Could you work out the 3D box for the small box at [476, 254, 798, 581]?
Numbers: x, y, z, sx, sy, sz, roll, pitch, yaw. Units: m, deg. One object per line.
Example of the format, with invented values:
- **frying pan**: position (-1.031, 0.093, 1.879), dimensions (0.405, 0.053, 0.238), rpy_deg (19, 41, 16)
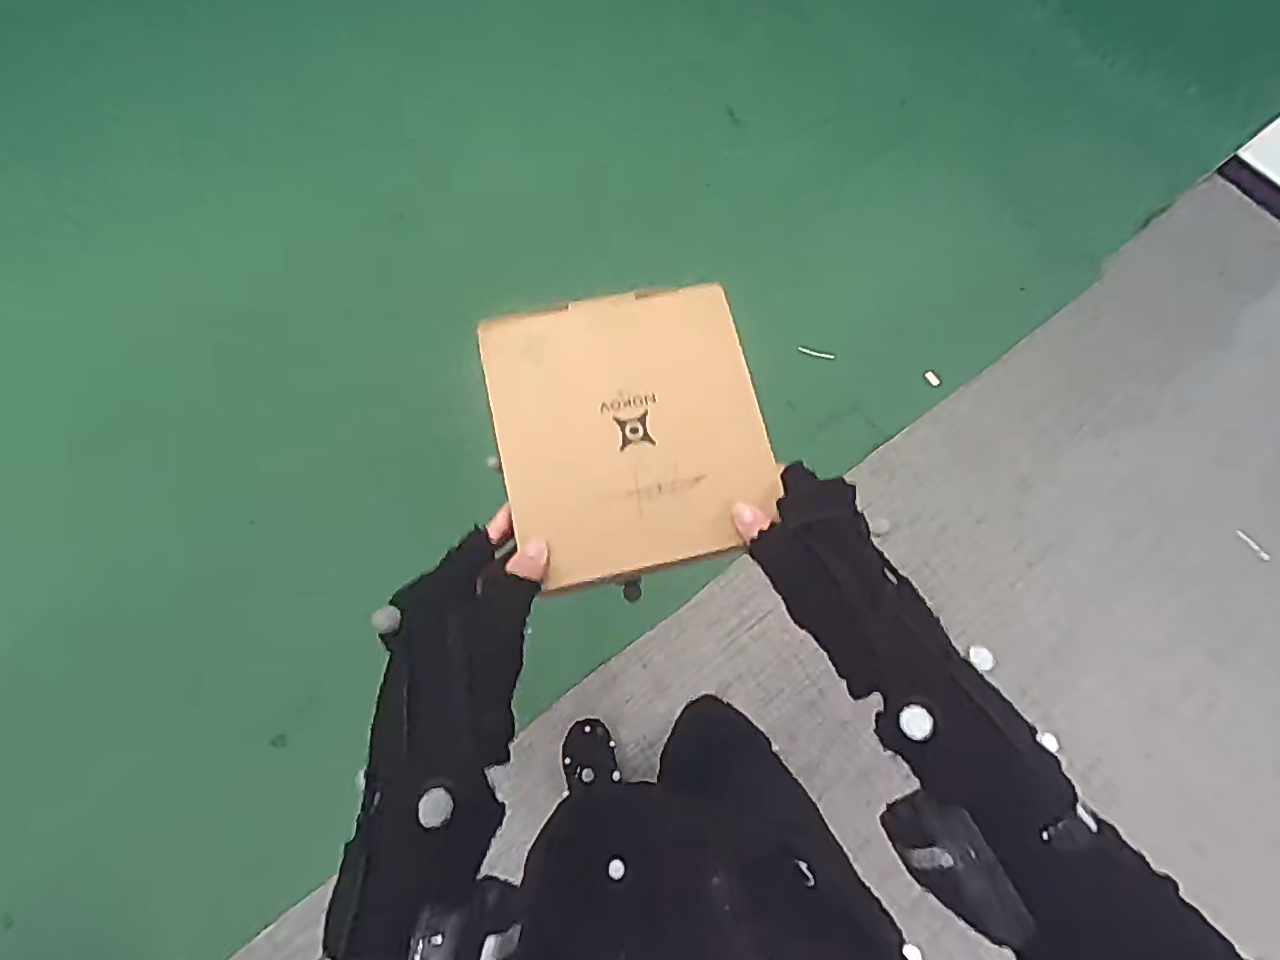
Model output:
- **small box**: position (-0.011, -0.030, 0.393), dimensions (0.168, 0.176, 0.179), rpy_deg (-10, 78, -7)
